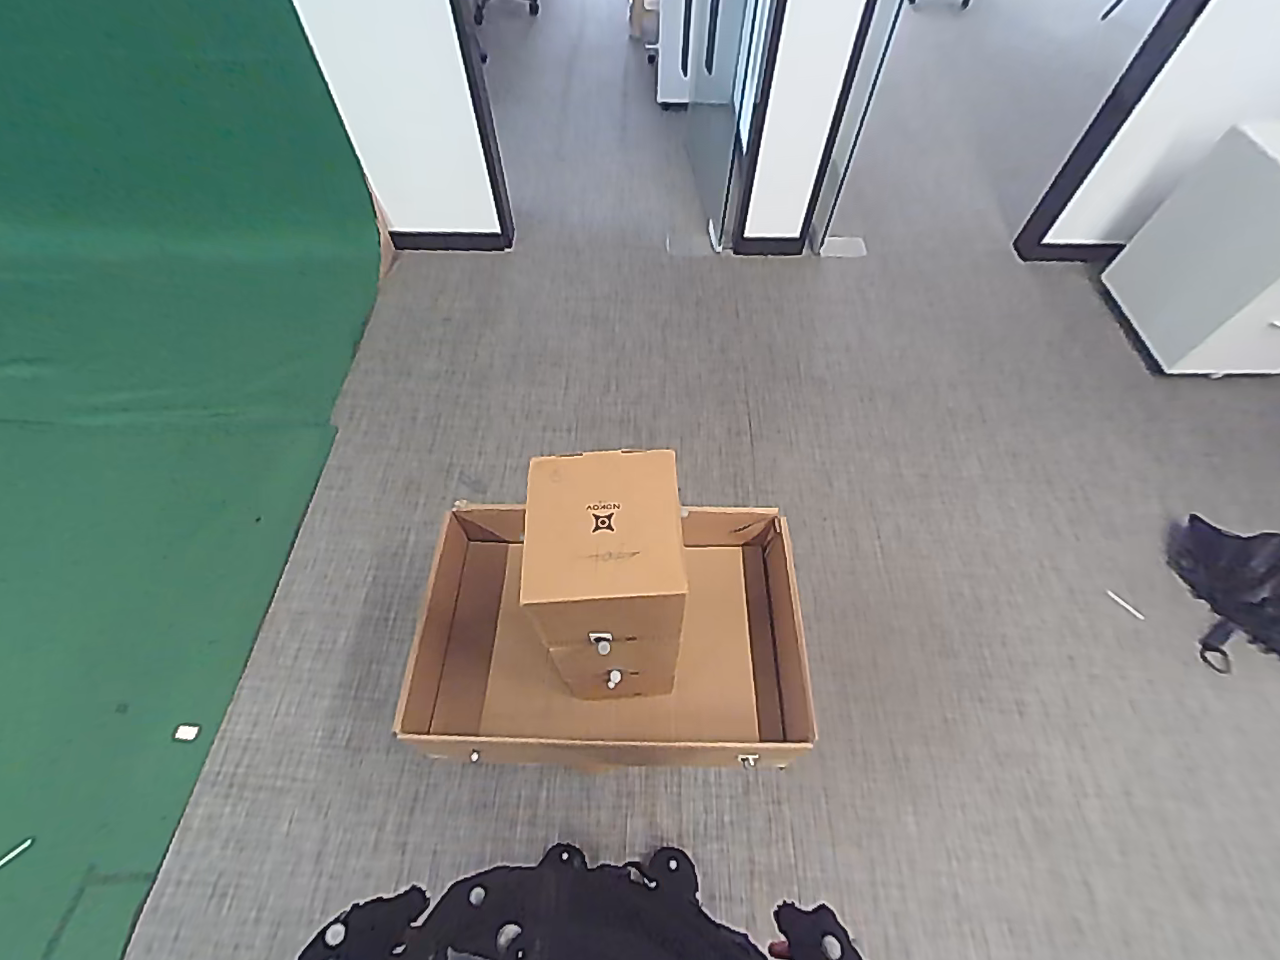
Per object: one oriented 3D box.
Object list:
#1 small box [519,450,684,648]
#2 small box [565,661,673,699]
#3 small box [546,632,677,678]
[{"bbox_3d":[-0.041,0.086,0.643,0.168,0.176,0.179,-4,58,0],"label":"small box"},{"bbox_3d":[-0.035,0.258,0.919,0.168,0.176,0.179,-4,56,0],"label":"small box"},{"bbox_3d":[-0.039,0.173,0.779,0.168,0.176,0.179,-3,58,-1],"label":"small box"}]
